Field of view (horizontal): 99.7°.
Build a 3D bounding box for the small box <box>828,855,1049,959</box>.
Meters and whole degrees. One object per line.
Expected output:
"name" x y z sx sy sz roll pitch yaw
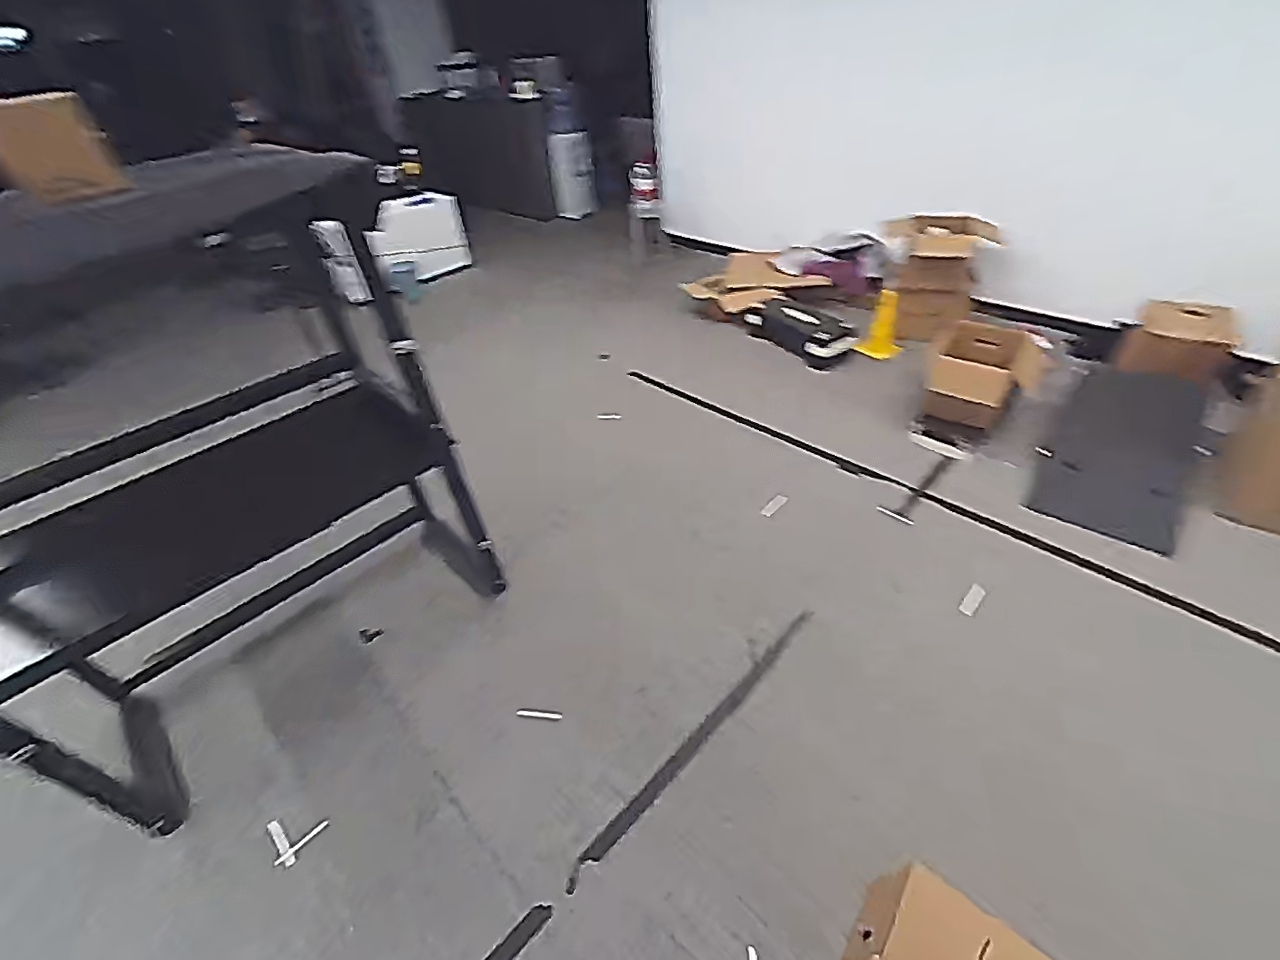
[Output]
"small box" 0.312 0.566 0.594 0.168 0.176 0.179 28 54 24
